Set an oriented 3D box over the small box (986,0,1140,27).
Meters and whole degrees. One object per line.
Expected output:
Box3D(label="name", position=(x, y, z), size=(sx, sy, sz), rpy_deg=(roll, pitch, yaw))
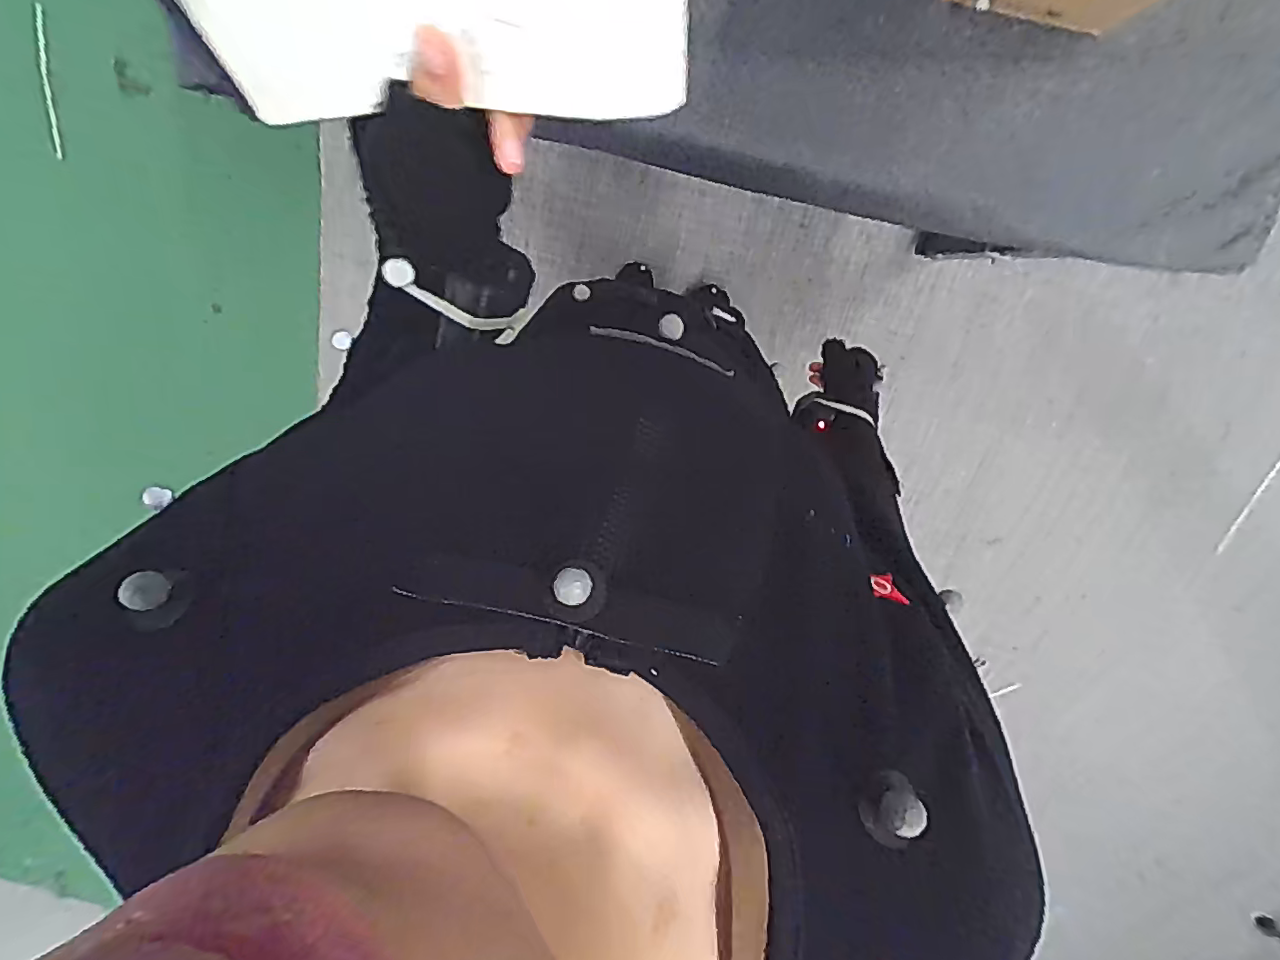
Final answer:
Box3D(label="small box", position=(0.389, -0.511, 0.433), size=(0.168, 0.176, 0.179), rpy_deg=(12, 111, -1))
